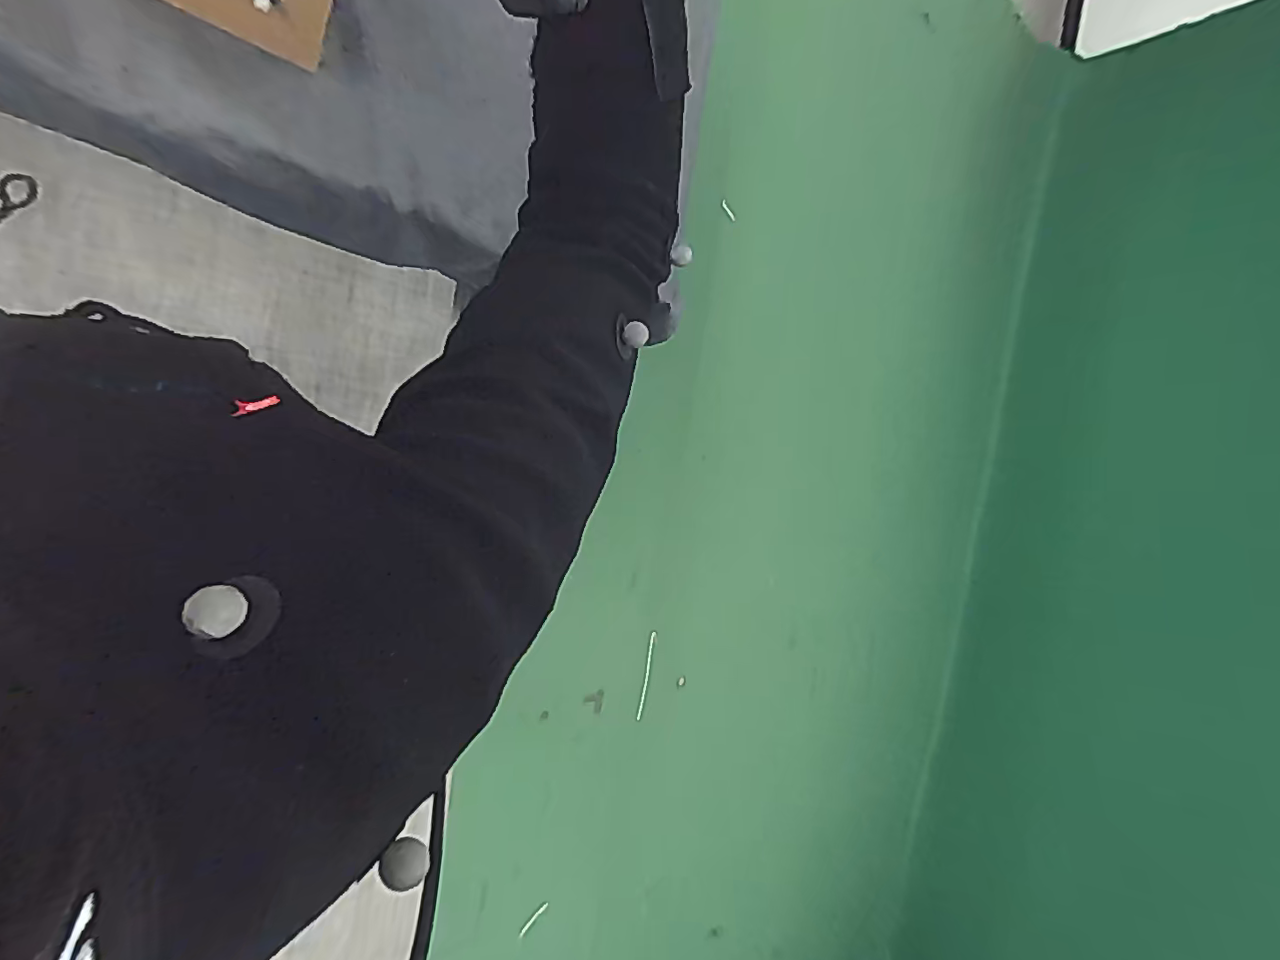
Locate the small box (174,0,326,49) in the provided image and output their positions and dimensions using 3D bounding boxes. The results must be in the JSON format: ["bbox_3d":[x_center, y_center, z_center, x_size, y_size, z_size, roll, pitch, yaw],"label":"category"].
[{"bbox_3d":[-0.325,-0.475,0.402,0.179,0.176,0.168,6,93,-37],"label":"small box"}]
